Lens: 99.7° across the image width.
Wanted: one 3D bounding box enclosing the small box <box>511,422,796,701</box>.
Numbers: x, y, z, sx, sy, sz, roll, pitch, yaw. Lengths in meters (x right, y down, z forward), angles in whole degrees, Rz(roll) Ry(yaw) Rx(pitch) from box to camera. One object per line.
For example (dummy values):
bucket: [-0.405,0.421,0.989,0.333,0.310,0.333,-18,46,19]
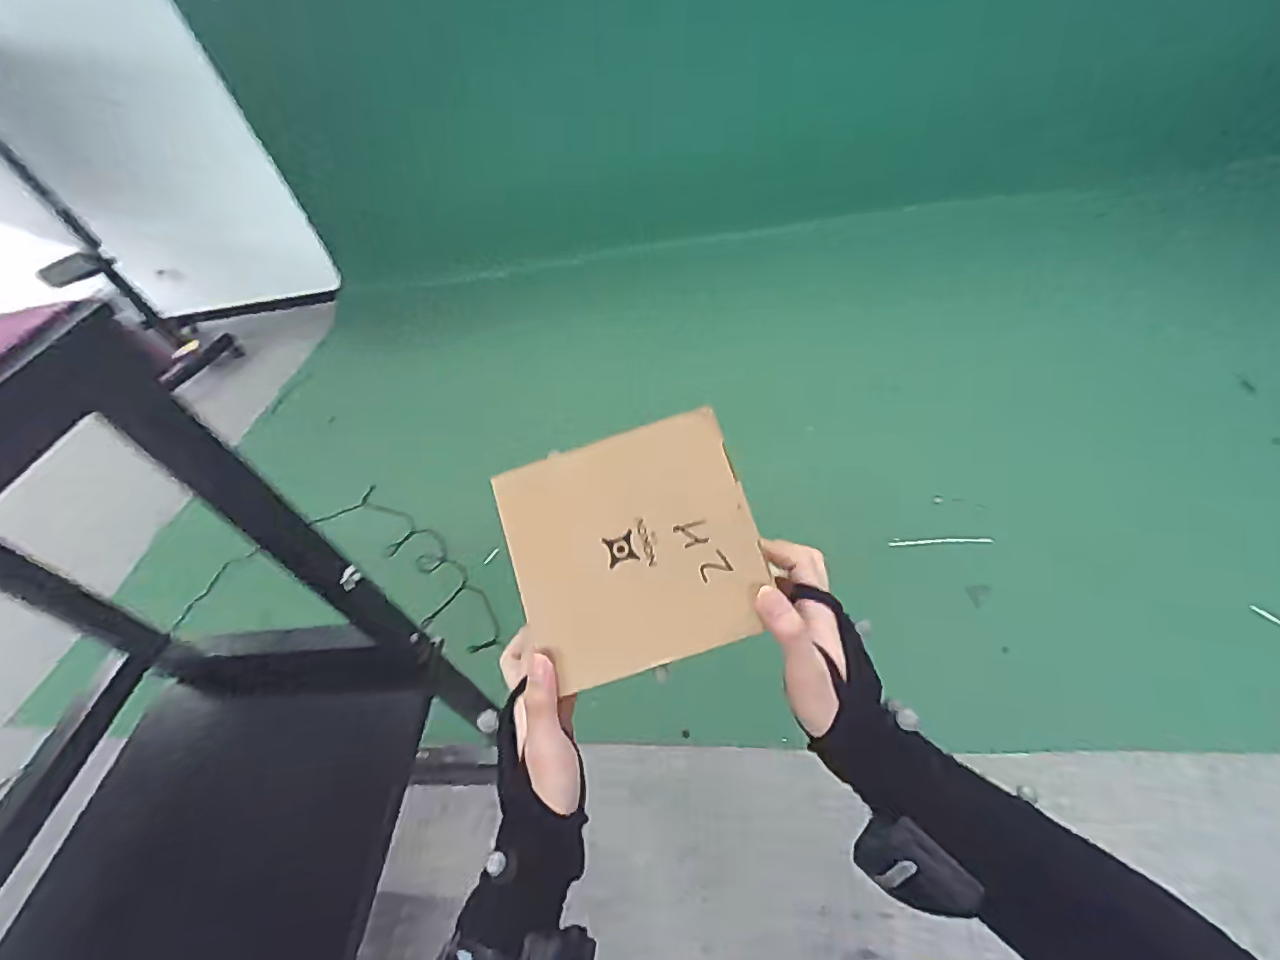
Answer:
small box: [0.013,0.074,0.468,0.179,0.176,0.168,-18,76,2]
